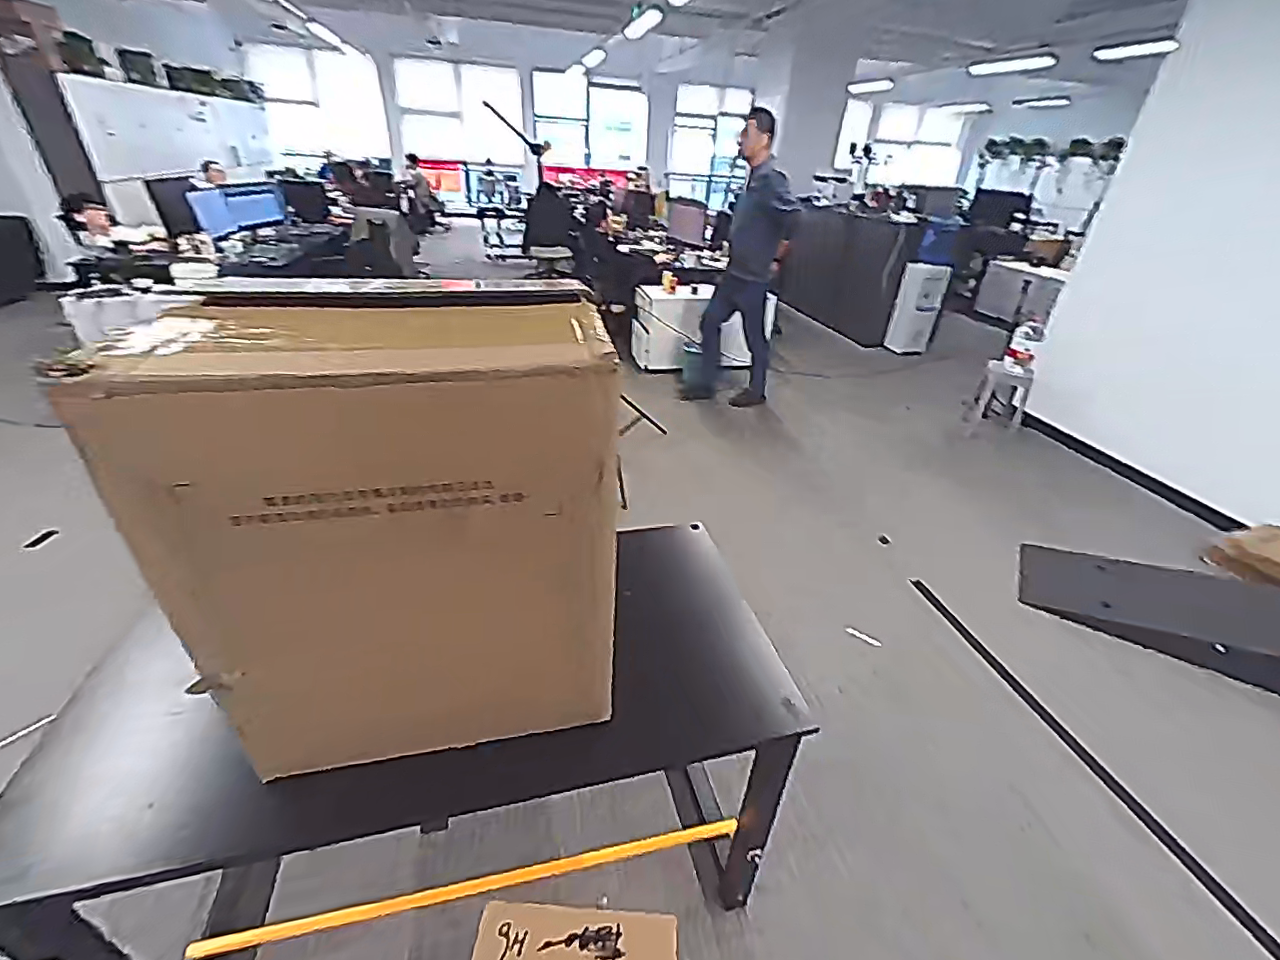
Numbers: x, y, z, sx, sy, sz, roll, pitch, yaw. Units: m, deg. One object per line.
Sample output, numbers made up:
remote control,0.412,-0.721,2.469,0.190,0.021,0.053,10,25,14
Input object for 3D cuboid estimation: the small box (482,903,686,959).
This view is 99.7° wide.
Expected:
small box,-0.052,0.482,0.444,0.168,0.176,0.179,5,40,1
